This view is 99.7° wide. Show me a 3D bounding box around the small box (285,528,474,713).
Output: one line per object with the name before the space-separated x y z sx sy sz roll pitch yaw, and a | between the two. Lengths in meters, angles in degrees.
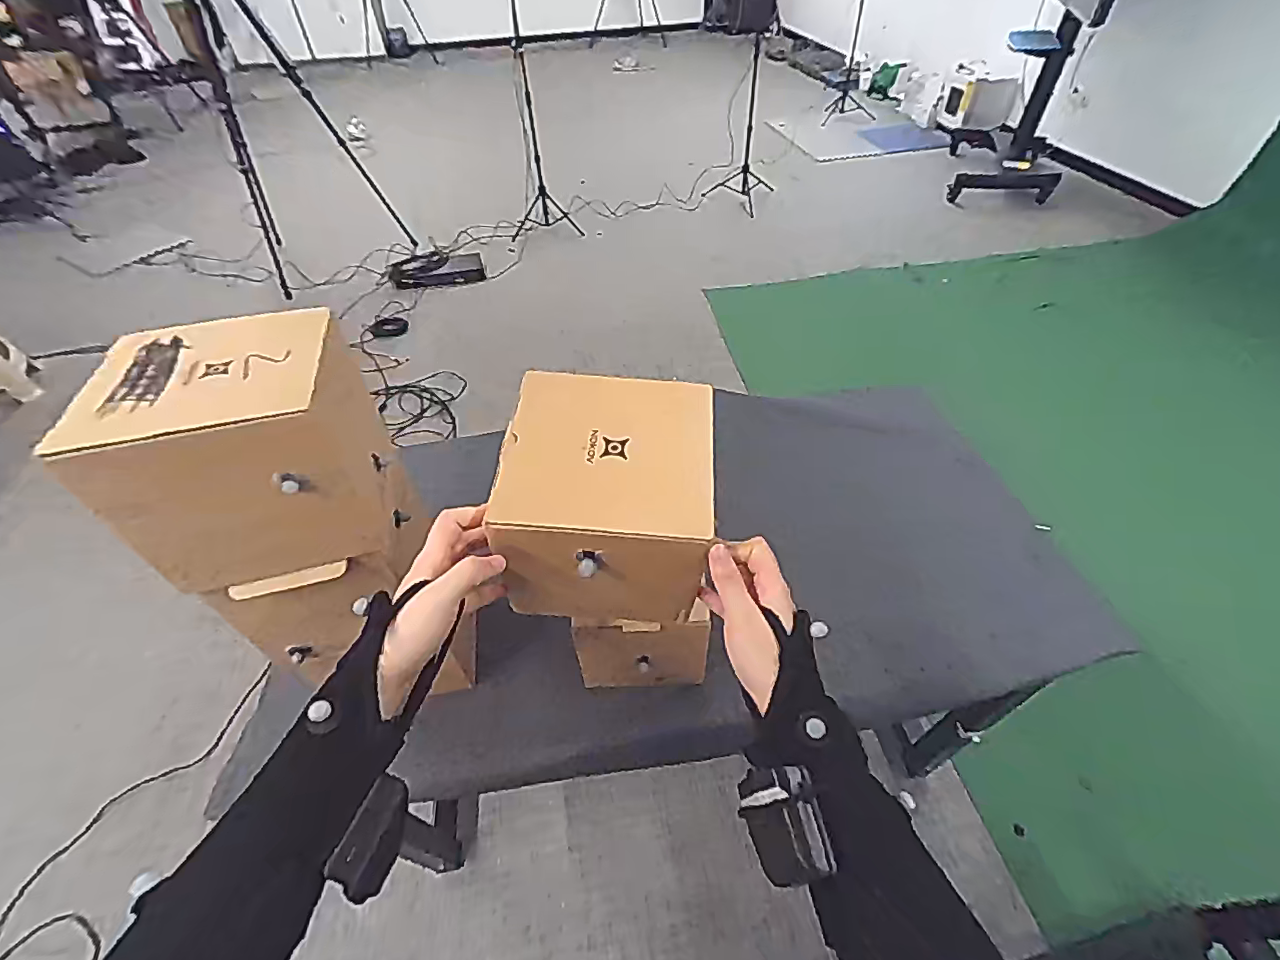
small box | -0.332 0.192 0.736 0.179 0.176 0.168 -11 46 -6

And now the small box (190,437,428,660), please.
small box | -0.349 0.083 0.614 0.168 0.176 0.179 -13 46 -10

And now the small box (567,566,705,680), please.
small box | -0.001 0.163 0.741 0.168 0.176 0.179 -3 47 1

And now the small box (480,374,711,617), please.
small box | -0.031 0.021 0.515 0.179 0.176 0.168 3 54 1
